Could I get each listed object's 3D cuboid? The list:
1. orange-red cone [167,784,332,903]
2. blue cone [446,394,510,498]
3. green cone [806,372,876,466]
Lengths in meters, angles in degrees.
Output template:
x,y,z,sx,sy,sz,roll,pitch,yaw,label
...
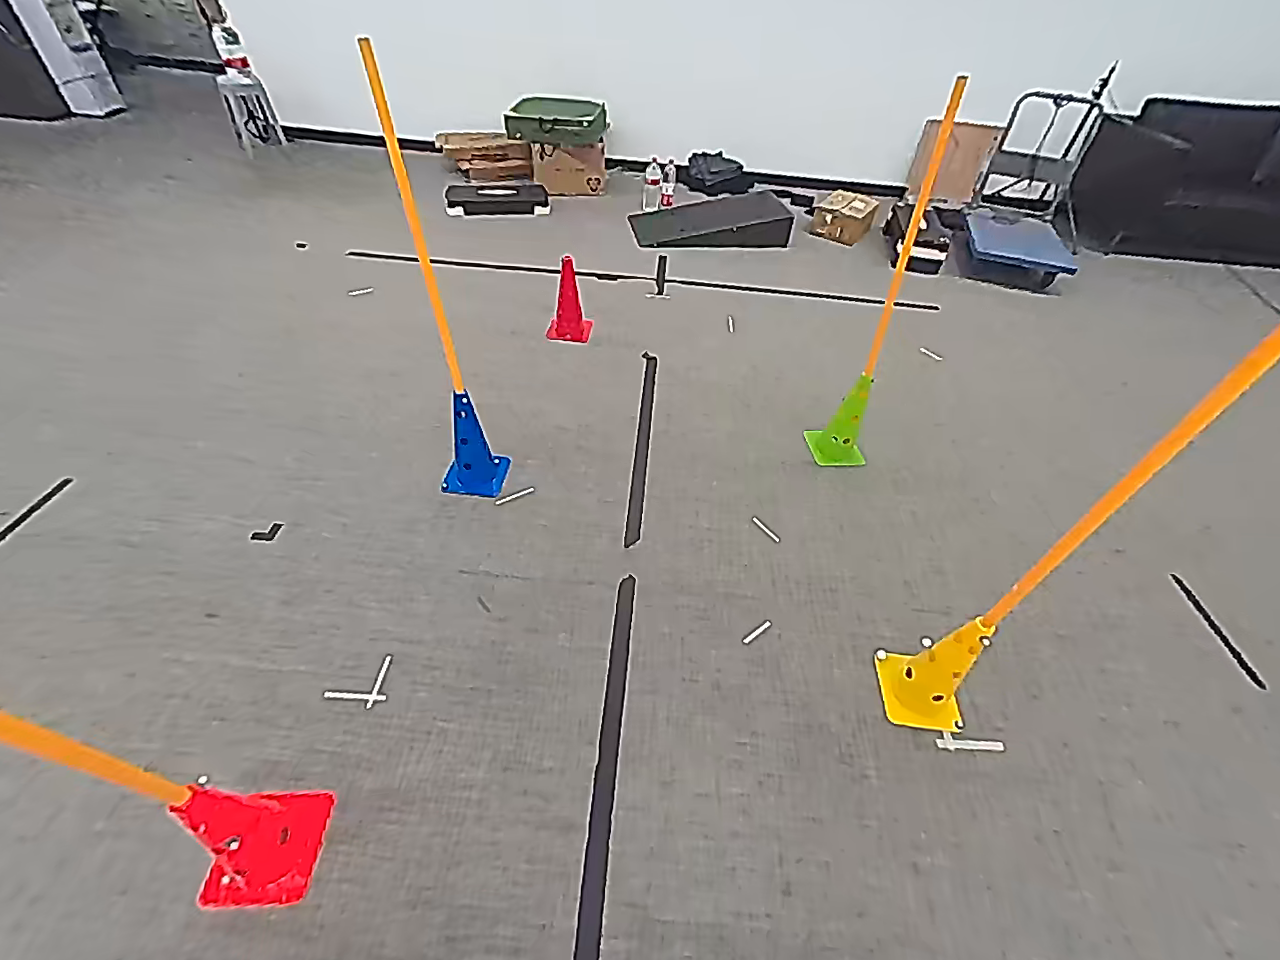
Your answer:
x,y,z,sx,sy,sz,roll,pitch,yaw,label
-0.749,0.627,0.991,0.199,0.360,0.198,3,46,-4,orange-red cone
-0.555,-0.129,1.781,0.193,0.380,0.192,8,46,2,blue cone
0.784,-0.248,2.016,0.200,0.368,0.202,-2,48,-7,green cone
